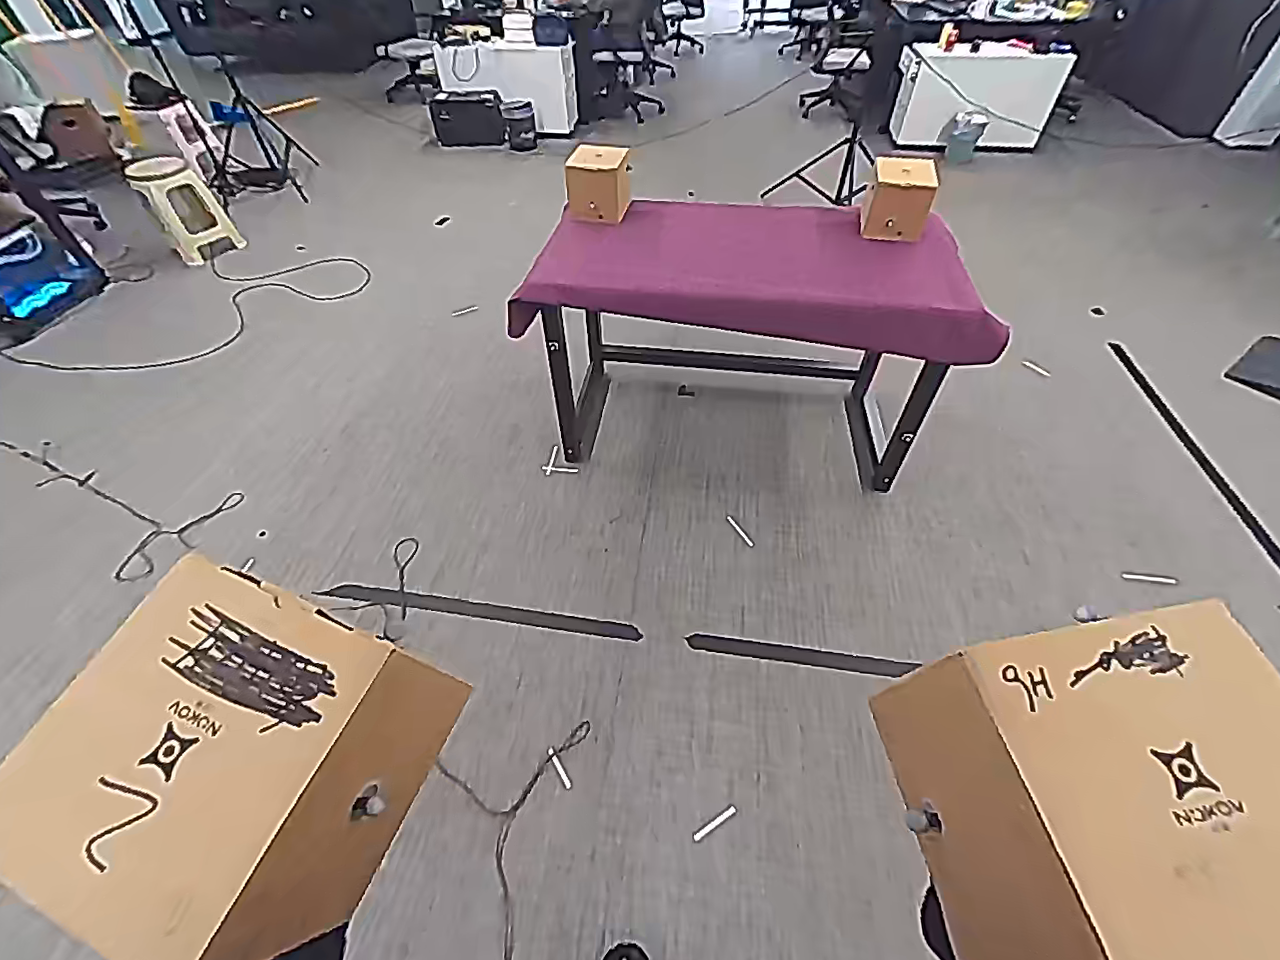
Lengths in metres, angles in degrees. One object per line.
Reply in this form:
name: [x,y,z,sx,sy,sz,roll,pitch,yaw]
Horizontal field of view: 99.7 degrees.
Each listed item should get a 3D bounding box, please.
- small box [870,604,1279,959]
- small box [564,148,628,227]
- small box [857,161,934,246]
small box: [0.279,0.200,0.348,0.168,0.176,0.179,-10,60,-4]
small box: [-0.135,-0.944,1.745,0.168,0.176,0.179,9,51,9]
small box: [0.769,-0.840,1.644,0.168,0.176,0.179,9,53,9]
